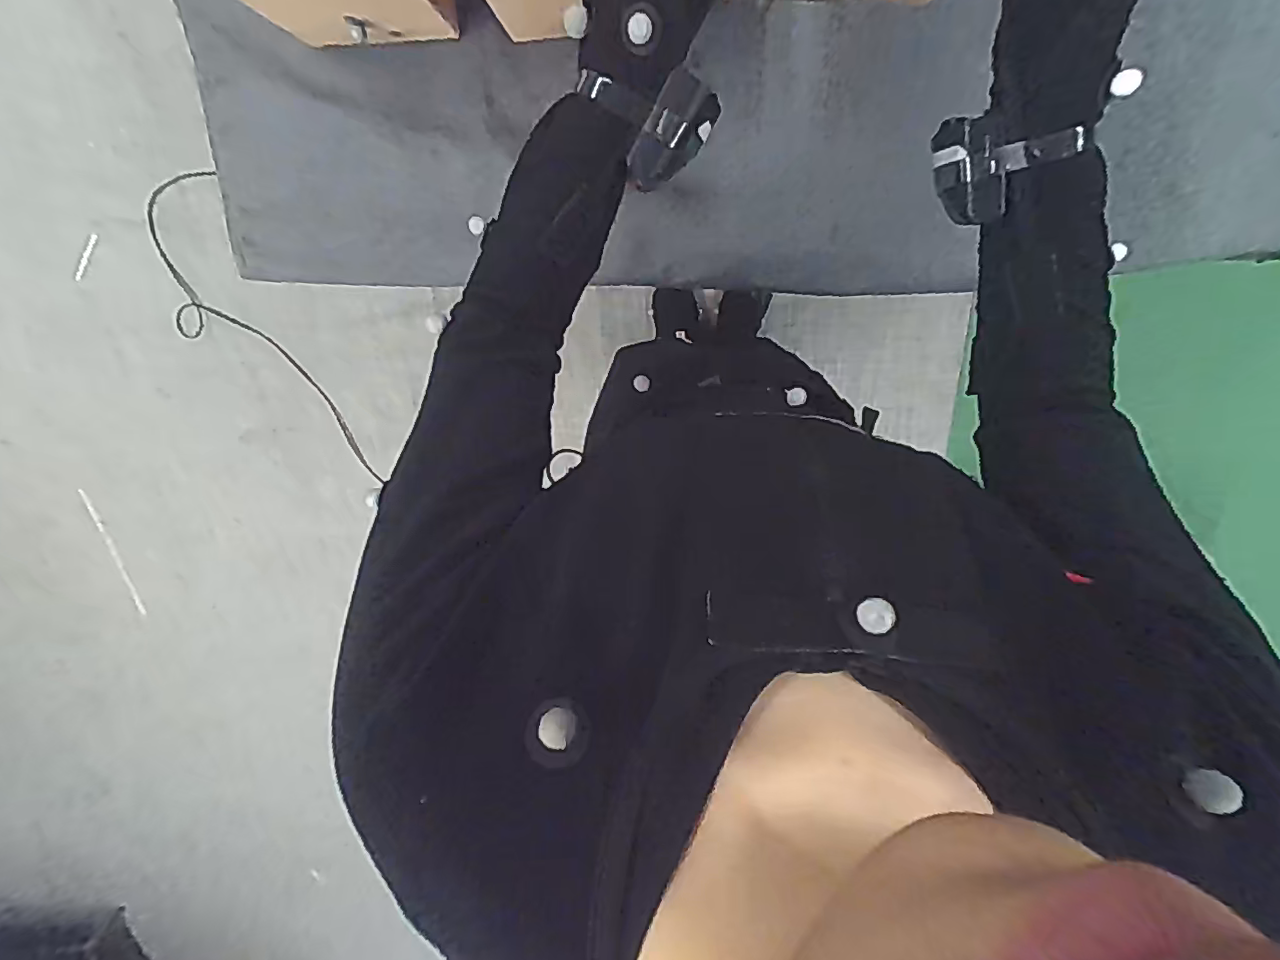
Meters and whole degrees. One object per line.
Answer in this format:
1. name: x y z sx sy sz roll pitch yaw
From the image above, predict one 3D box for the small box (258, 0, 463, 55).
1. small box: -0.271 -0.512 0.474 0.168 0.176 0.179 -1 111 3
